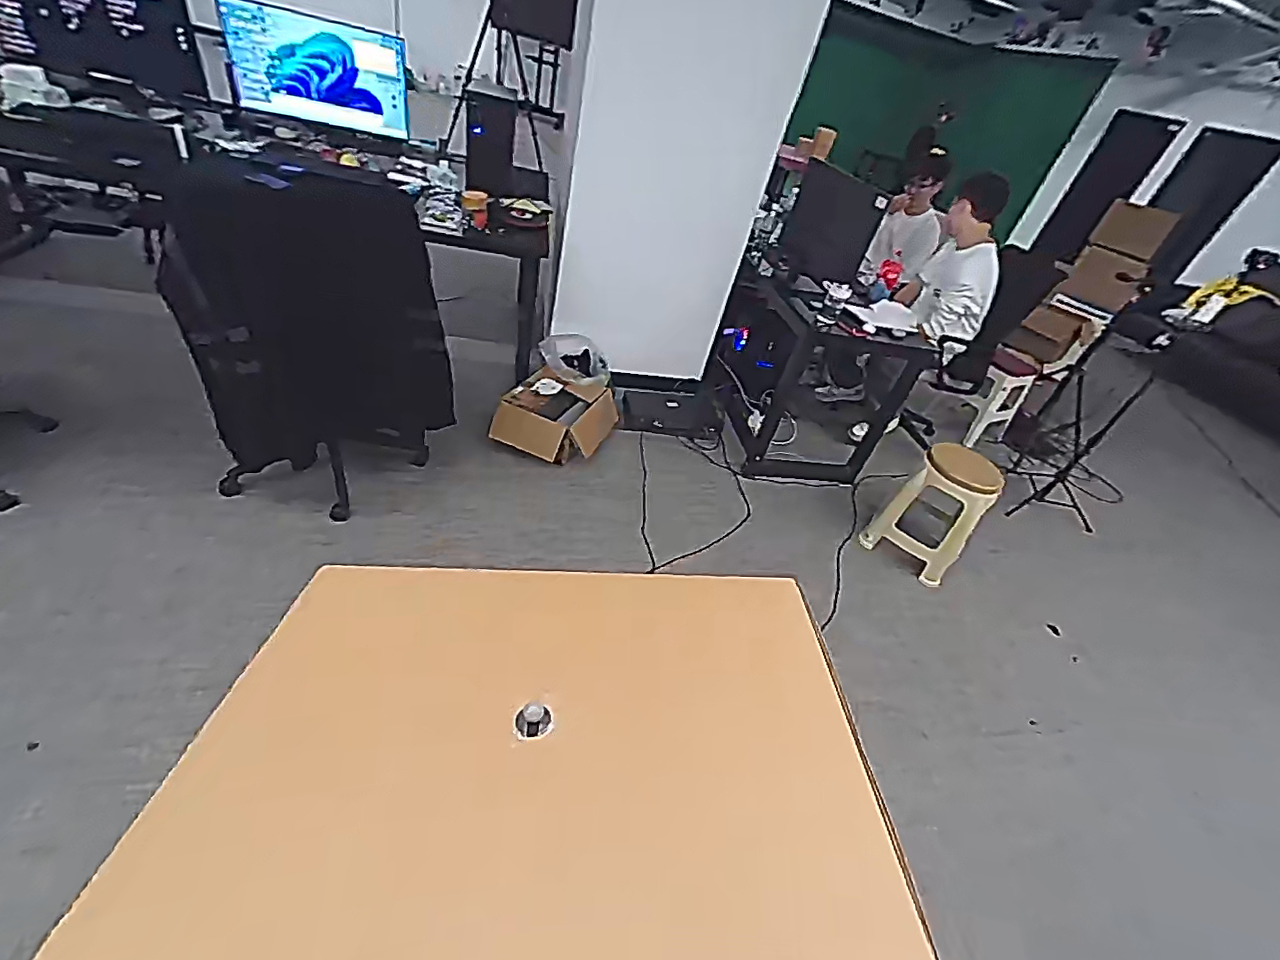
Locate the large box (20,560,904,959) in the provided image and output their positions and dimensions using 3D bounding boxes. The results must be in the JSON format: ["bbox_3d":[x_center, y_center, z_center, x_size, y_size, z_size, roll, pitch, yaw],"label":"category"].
[{"bbox_3d":[-0.085,0.278,0.414,0.408,0.320,0.320,0,34,-2],"label":"large box"}]
